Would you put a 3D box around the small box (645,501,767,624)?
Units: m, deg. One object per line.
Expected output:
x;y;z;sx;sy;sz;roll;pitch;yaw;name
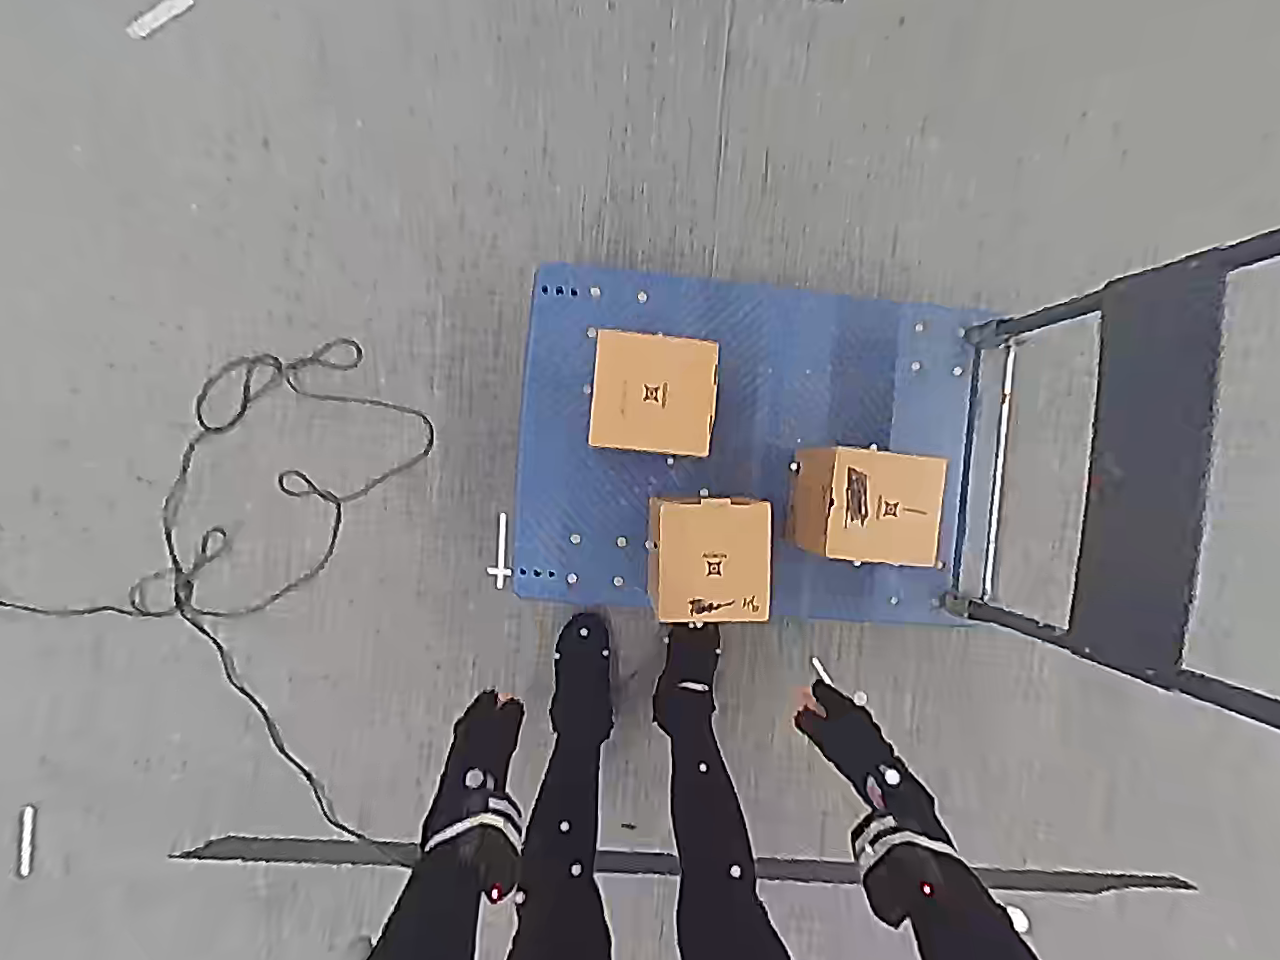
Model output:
0.096;0.123;0.864;0.168;0.176;0.179;1;90;-4;small box

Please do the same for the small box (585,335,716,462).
0.009;-0.118;0.850;0.179;0.176;0.168;5;90;-4;small box

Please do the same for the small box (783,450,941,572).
0.349;0.047;0.881;0.179;0.176;0.168;7;91;-5;small box
